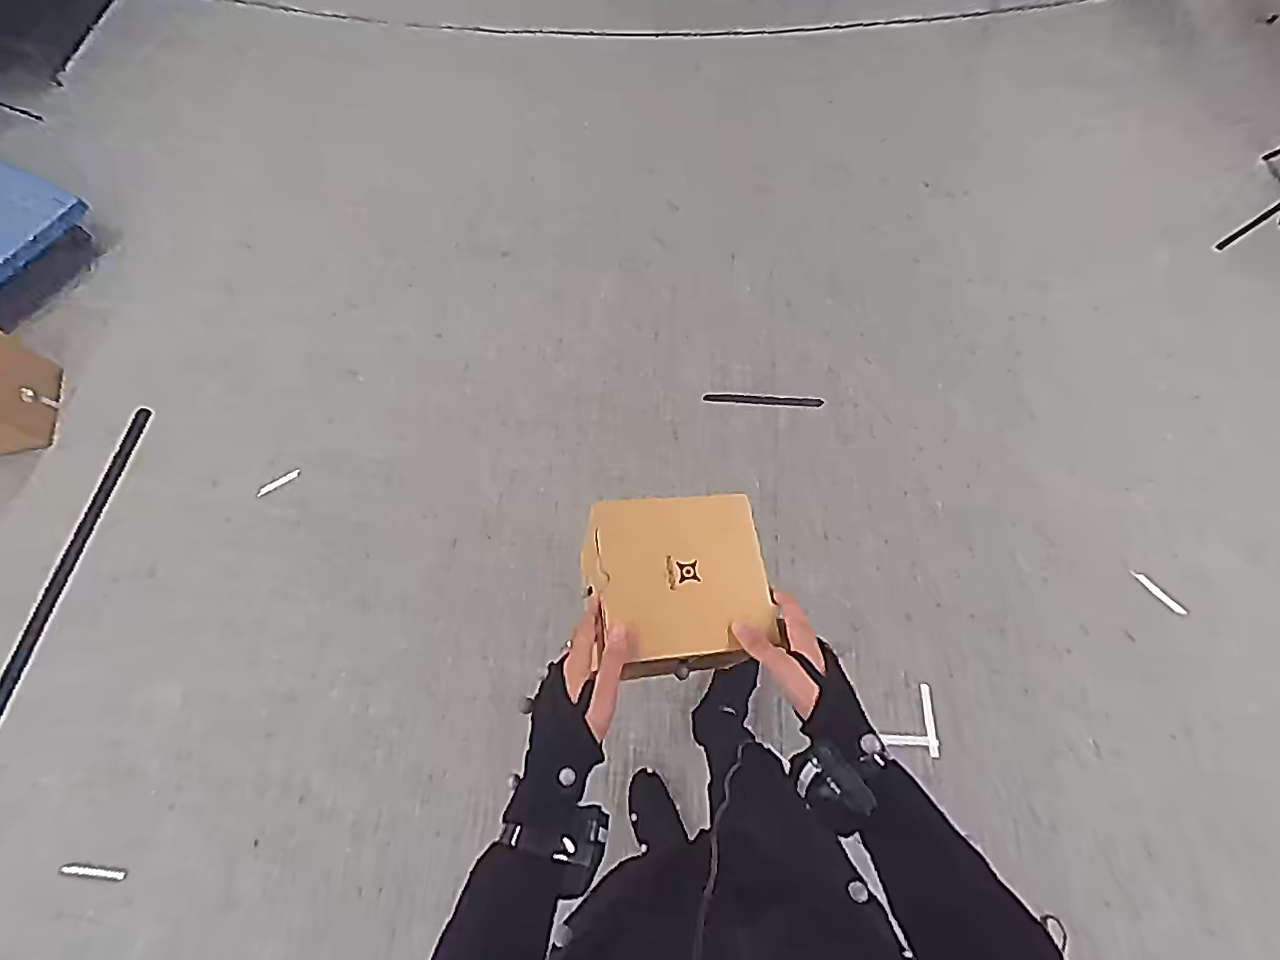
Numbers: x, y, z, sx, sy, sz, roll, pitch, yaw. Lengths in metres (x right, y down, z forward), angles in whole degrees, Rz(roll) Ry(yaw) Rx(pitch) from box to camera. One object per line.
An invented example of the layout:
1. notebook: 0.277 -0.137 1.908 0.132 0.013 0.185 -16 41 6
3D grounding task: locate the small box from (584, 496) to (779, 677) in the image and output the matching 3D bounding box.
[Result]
1. small box: 0.033 0.128 0.626 0.179 0.176 0.168 -4 65 -11
